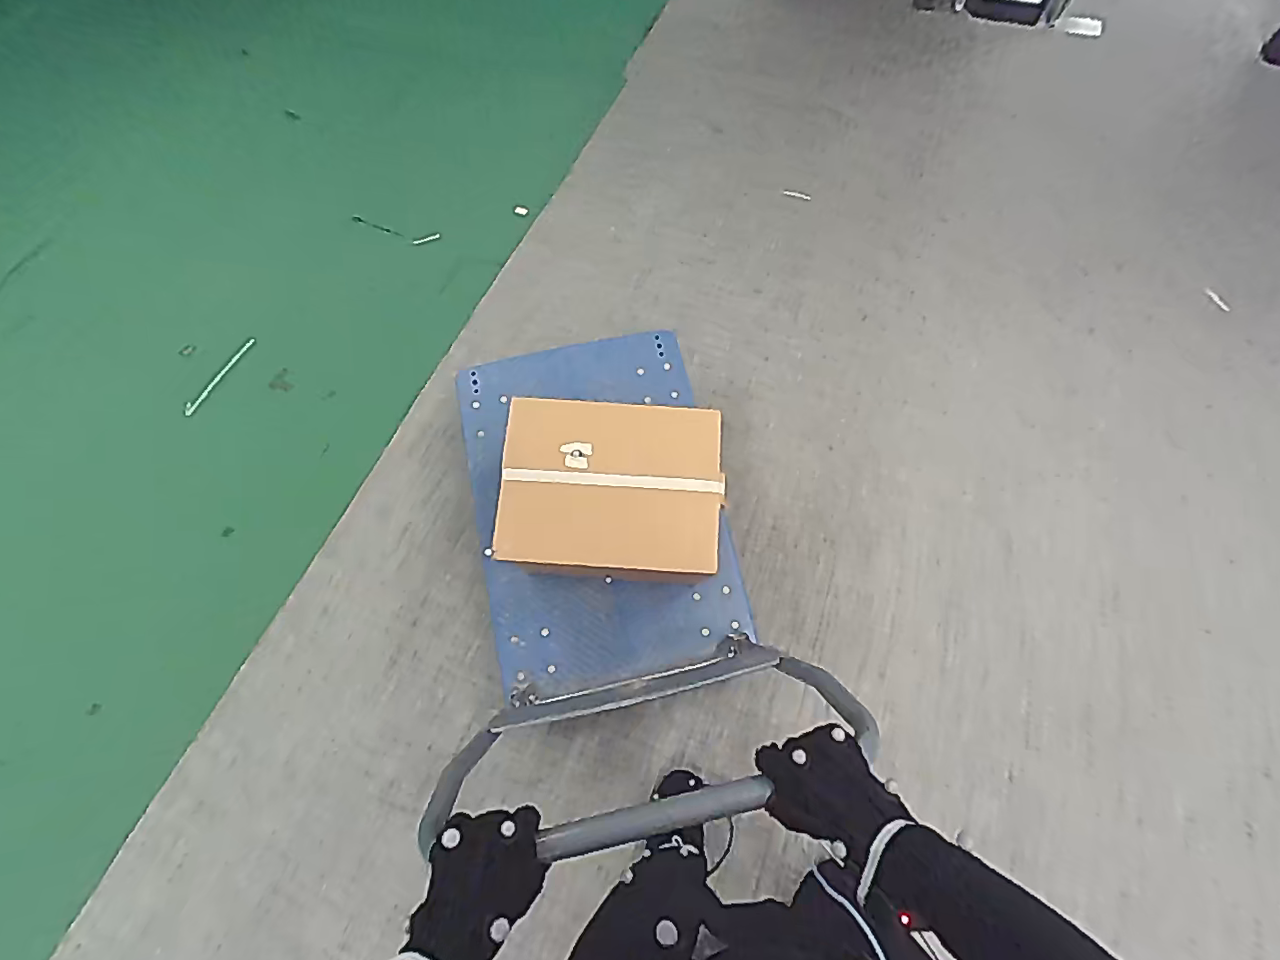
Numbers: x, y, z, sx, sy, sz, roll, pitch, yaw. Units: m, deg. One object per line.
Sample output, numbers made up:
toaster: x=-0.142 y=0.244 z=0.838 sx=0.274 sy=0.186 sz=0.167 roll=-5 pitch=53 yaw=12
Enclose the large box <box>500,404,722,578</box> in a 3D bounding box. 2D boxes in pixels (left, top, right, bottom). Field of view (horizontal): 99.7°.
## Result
large box: x=-0.044 y=0.042 z=1.140 sx=0.408 sy=0.320 sz=0.320 roll=2 pitch=76 yaw=2
